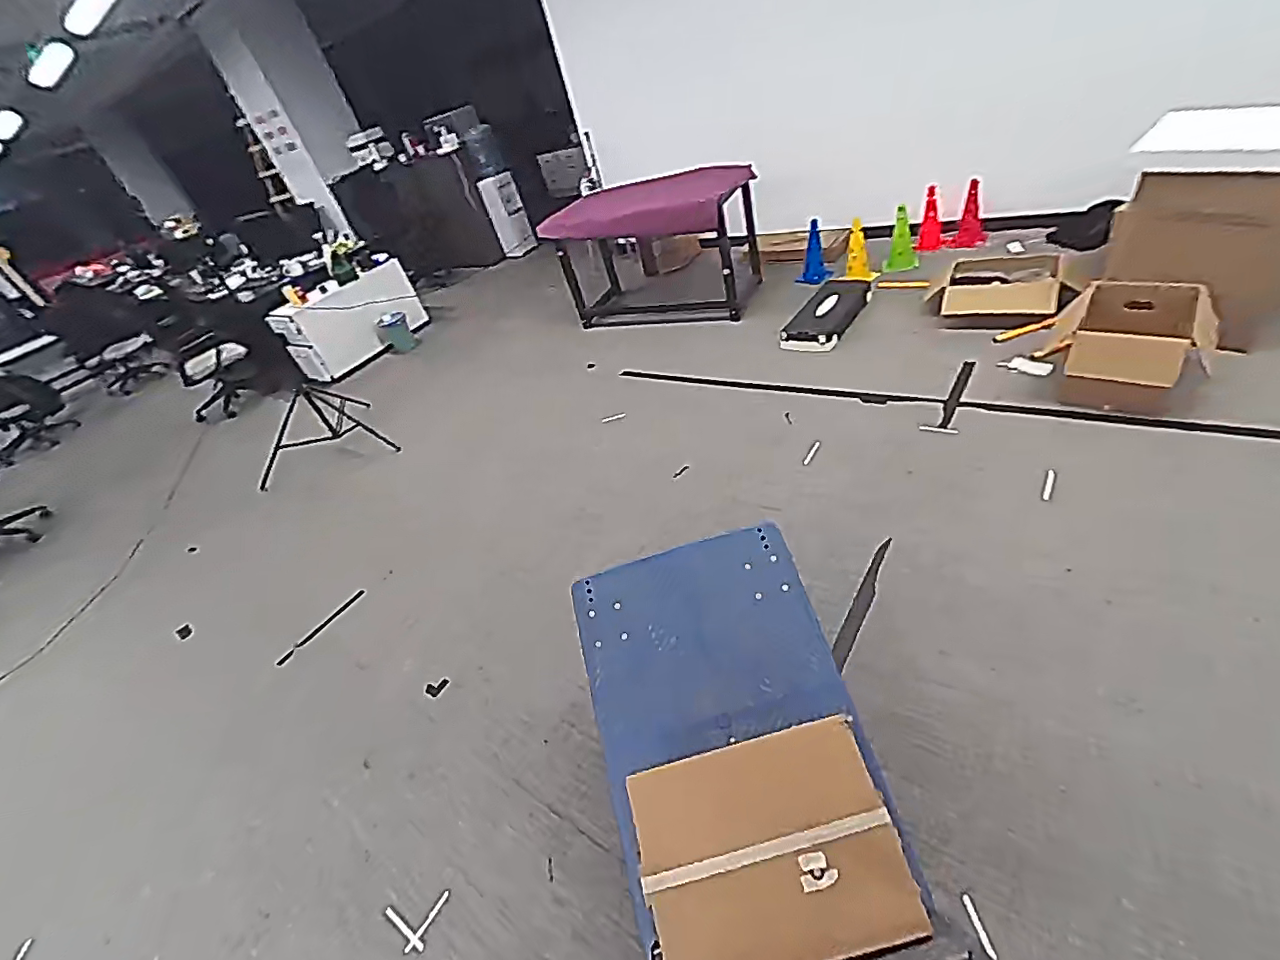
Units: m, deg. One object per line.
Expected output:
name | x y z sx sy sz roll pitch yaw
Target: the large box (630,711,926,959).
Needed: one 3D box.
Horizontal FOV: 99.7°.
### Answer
large box | 0.230 0.668 1.019 0.408 0.320 0.320 -18 62 0
